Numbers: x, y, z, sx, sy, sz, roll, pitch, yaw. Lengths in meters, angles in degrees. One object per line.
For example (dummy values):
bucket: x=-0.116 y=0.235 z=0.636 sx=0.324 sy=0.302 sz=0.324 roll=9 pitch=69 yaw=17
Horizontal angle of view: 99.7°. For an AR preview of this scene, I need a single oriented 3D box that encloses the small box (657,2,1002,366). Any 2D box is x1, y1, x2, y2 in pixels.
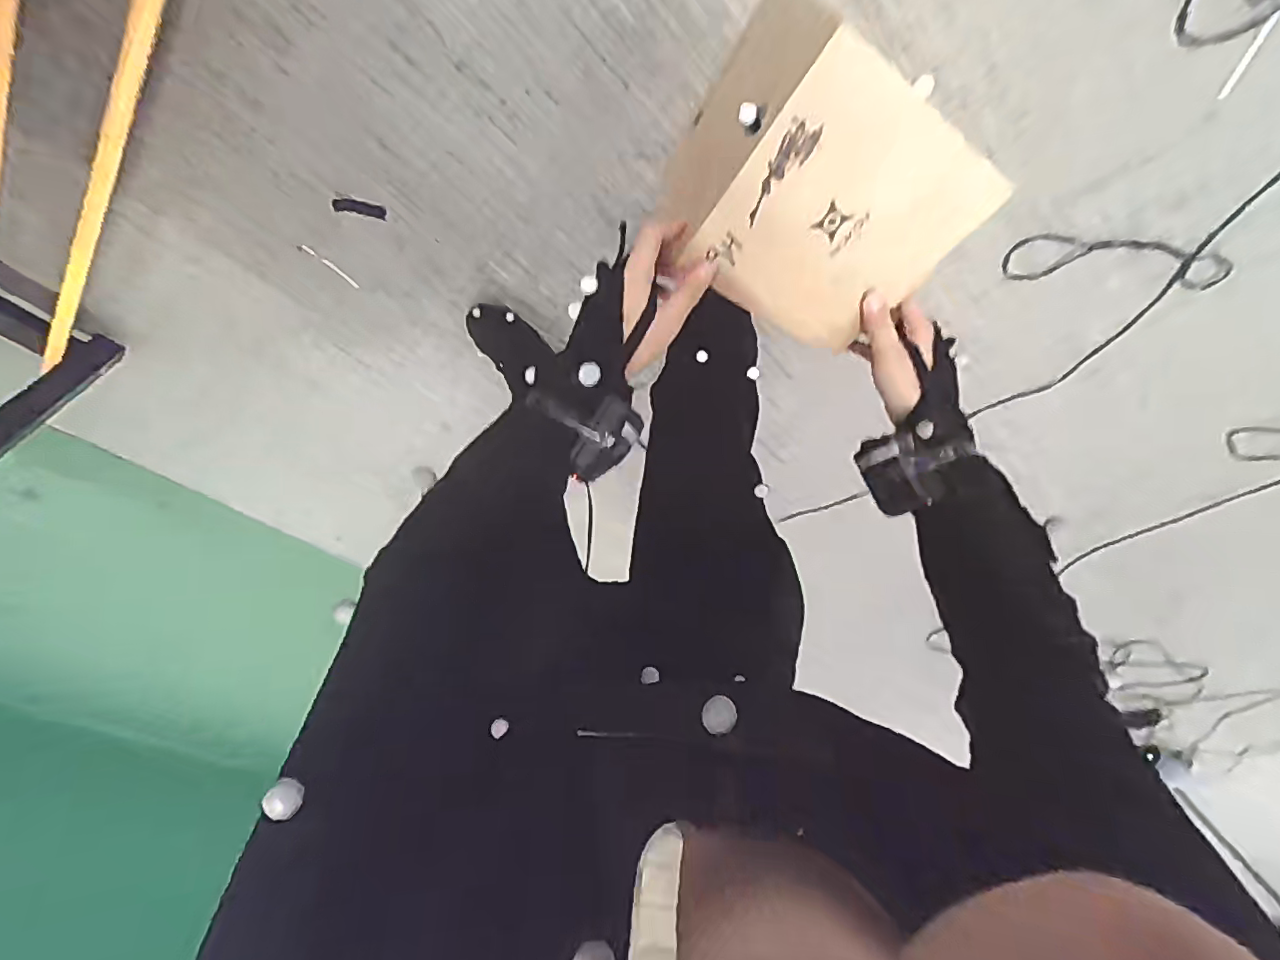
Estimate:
small box: x=0.130 y=-0.230 z=0.432 sx=0.179 sy=0.176 sz=0.168 roll=20 pitch=134 yaw=-25
